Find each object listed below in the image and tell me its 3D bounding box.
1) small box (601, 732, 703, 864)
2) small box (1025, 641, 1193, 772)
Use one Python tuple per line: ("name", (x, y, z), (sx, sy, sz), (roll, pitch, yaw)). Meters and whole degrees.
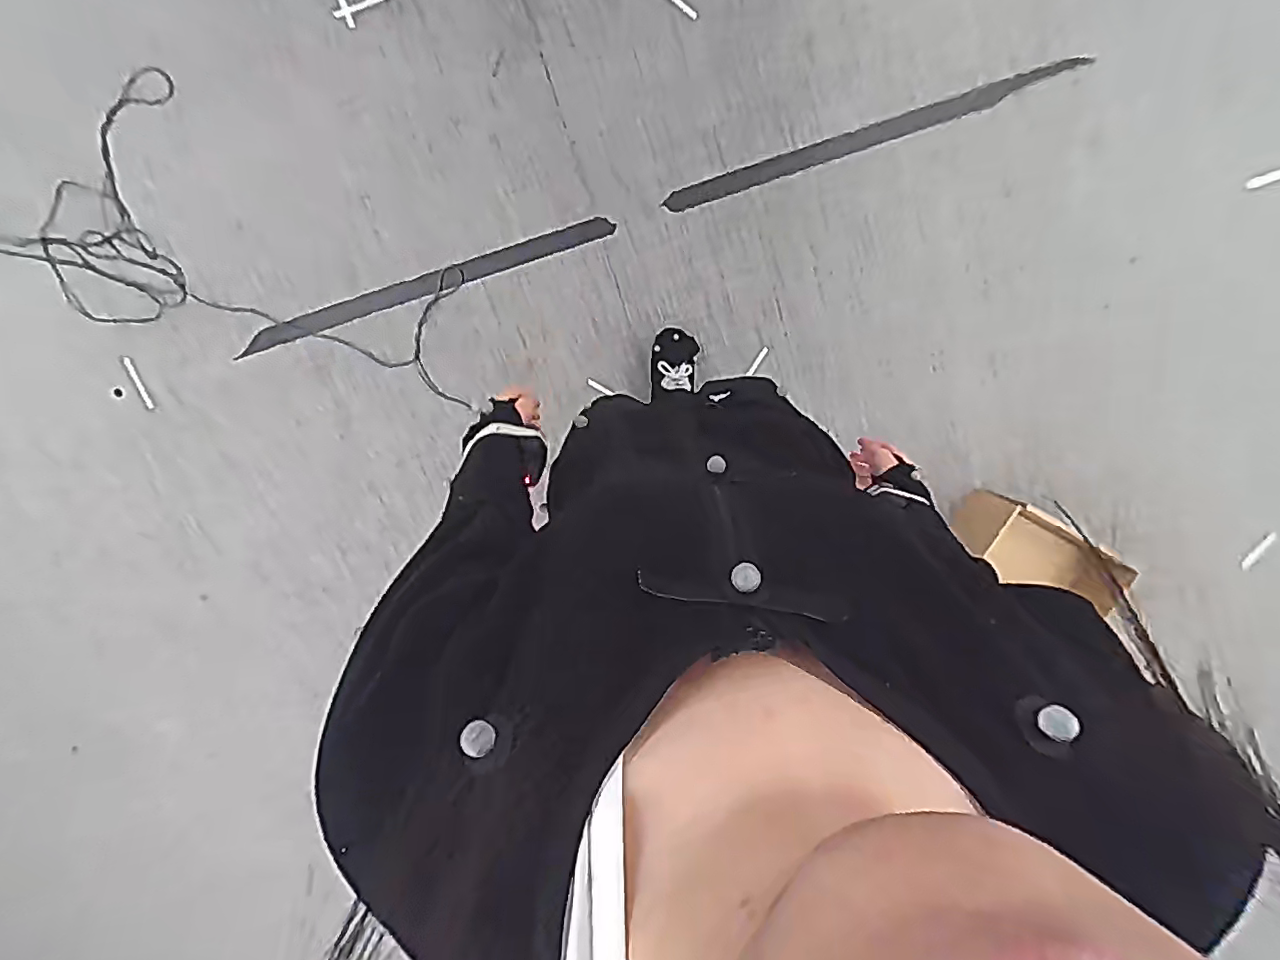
("small box", (0.023, 0.737, 1.271), (0.168, 0.176, 0.179), (33, 101, -8))
("small box", (0.990, 0.474, 1.161), (0.179, 0.176, 0.168), (28, 101, -9))
